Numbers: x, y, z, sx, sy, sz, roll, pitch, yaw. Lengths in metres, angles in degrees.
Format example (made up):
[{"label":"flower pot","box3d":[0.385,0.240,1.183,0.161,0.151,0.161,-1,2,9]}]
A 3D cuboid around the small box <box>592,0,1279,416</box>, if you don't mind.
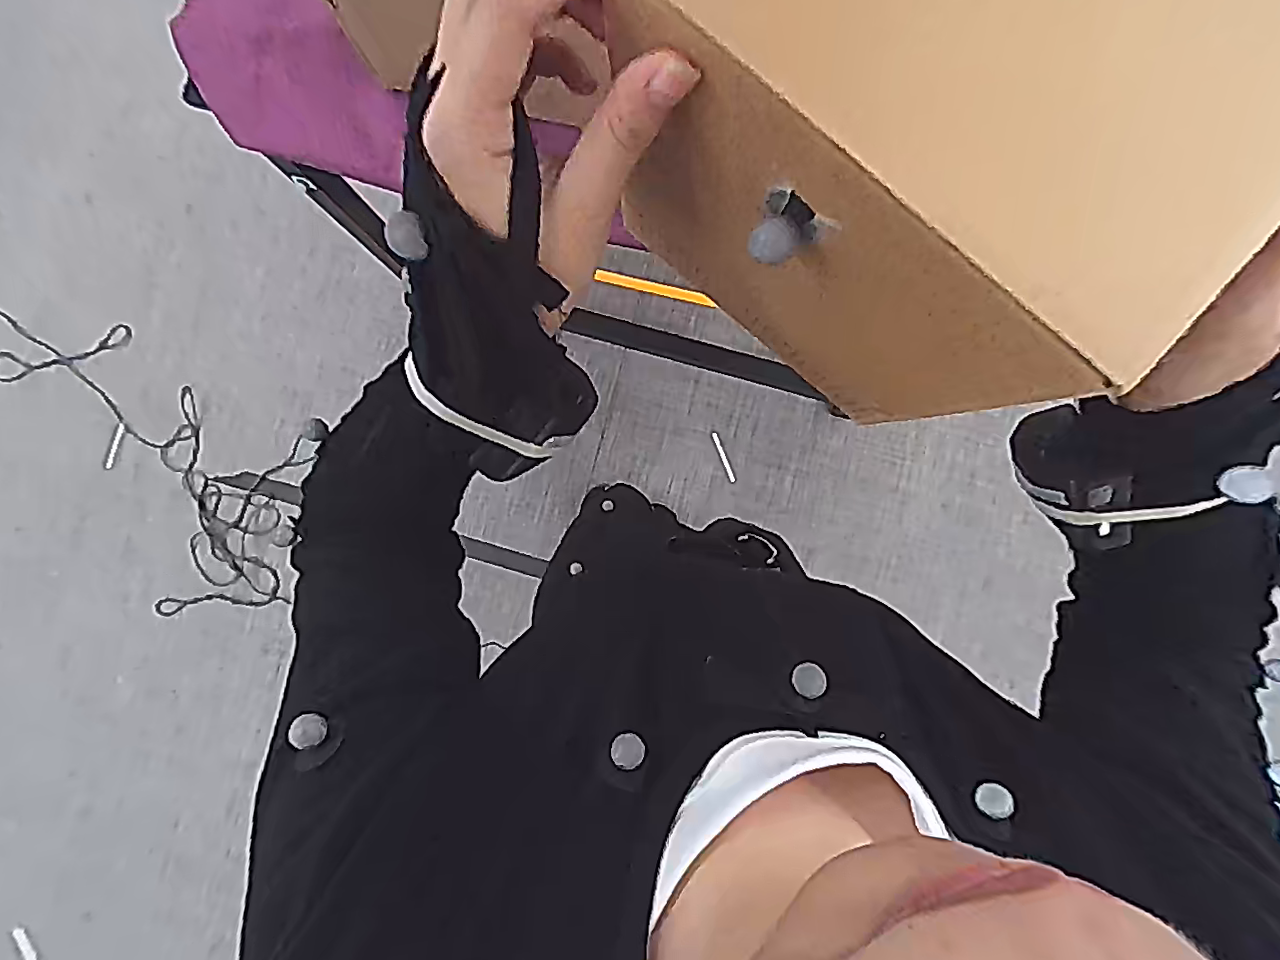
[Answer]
[{"label":"small box","box3d":[0.107,-0.138,0.203,0.179,0.176,0.168,40,93,1]}]
